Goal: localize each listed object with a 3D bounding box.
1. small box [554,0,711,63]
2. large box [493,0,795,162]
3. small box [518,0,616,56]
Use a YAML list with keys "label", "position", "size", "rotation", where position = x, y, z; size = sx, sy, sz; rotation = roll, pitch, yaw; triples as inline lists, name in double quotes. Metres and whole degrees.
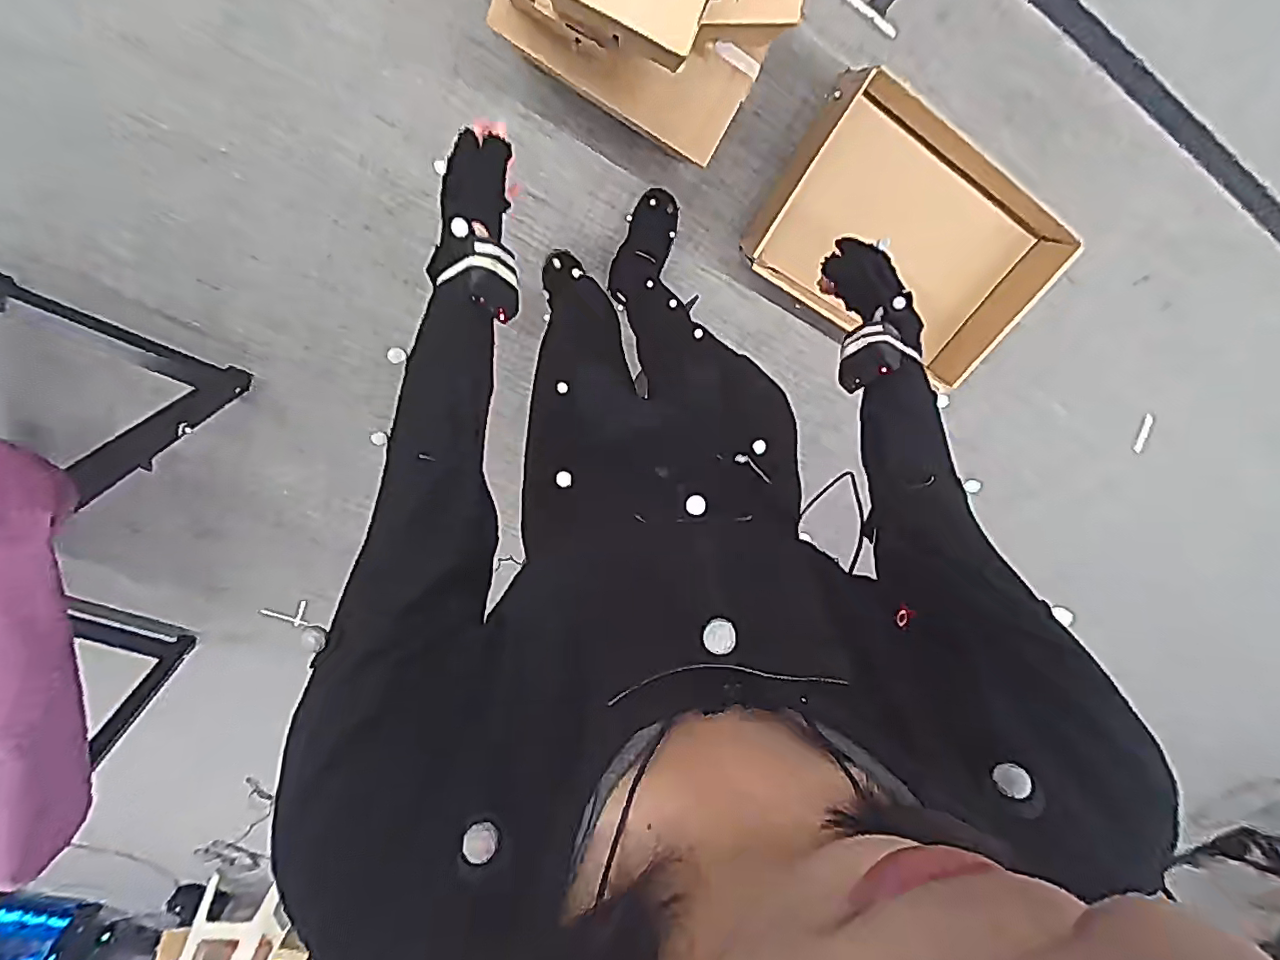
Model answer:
- label: "small box"
  position: [0.002, -0.592, 0.593]
  size: [0.179, 0.176, 0.168]
  rotation: [19, 120, -13]
- label: "large box"
  position: [0.008, -0.814, 0.934]
  size: [0.408, 0.320, 0.320]
  rotation: [23, 120, -17]
- label: "small box"
  position: [-0.078, -0.703, 0.713]
  size: [0.168, 0.176, 0.179]
  rotation: [22, 118, -18]
